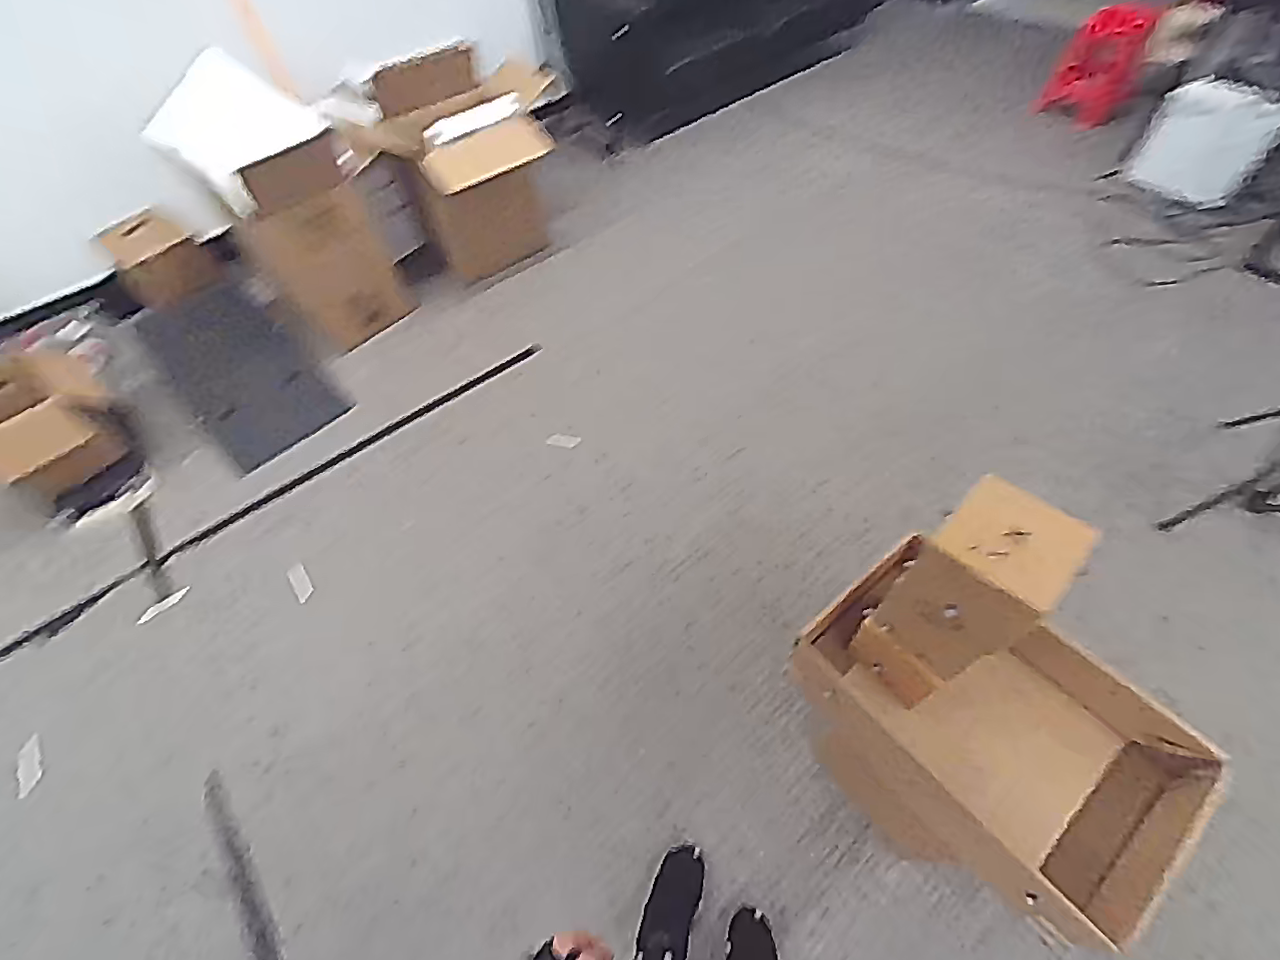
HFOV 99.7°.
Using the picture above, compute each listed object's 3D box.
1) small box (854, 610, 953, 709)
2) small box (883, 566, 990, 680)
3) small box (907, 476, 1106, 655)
[{"bbox_3d":[0.563,0.327,1.096,0.179,0.176,0.168,-36,58,-19],"label":"small box"},{"bbox_3d":[0.563,0.226,0.967,0.179,0.176,0.168,-35,59,-20],"label":"small box"},{"bbox_3d":[0.546,0.133,0.832,0.179,0.176,0.168,-40,60,-21],"label":"small box"}]
